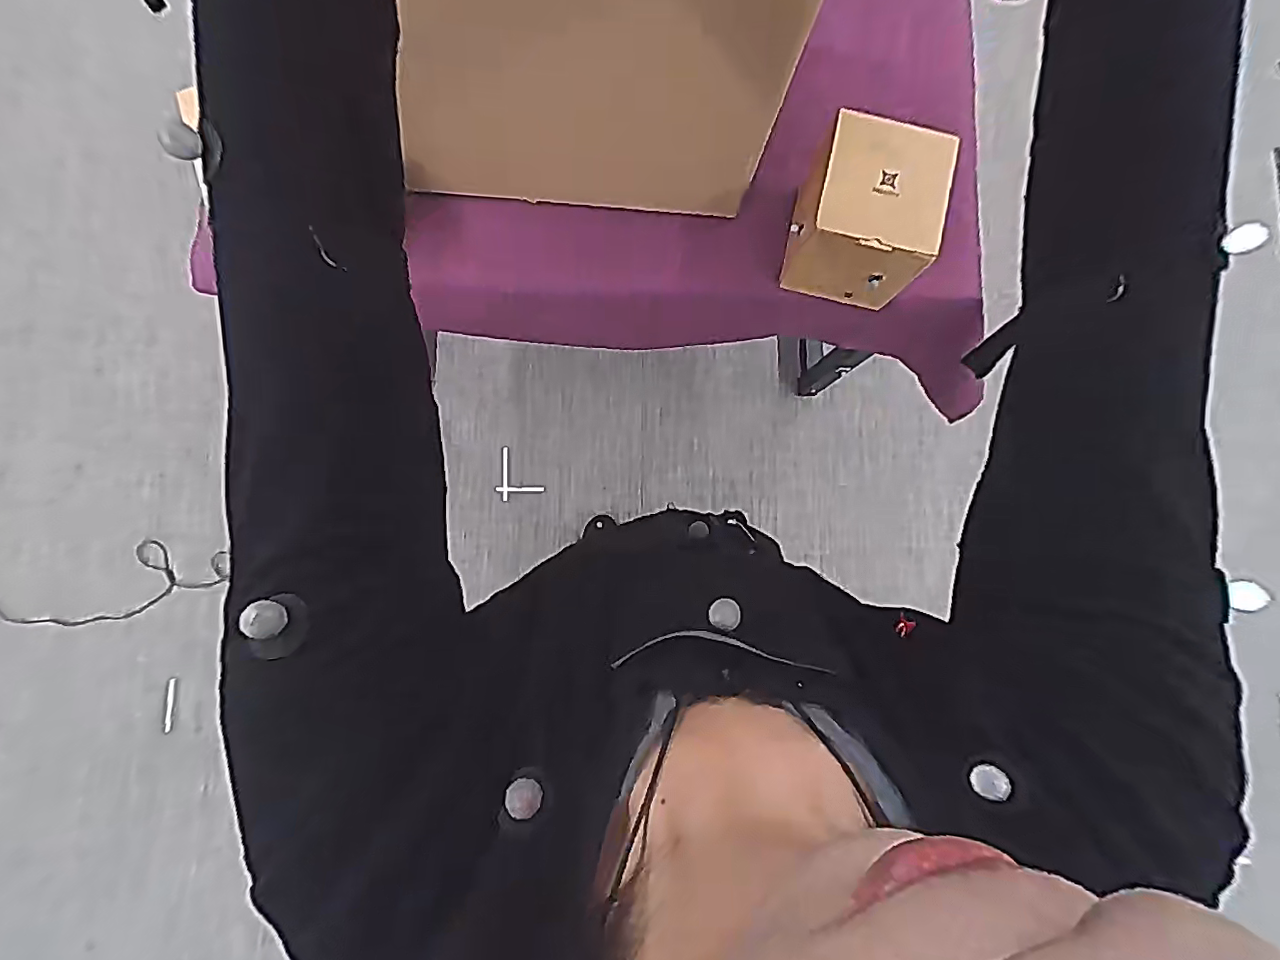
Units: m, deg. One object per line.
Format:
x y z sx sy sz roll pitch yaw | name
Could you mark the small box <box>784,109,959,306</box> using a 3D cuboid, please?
0.319 -0.378 0.781 0.168 0.176 0.179 13 83 -2 | small box
